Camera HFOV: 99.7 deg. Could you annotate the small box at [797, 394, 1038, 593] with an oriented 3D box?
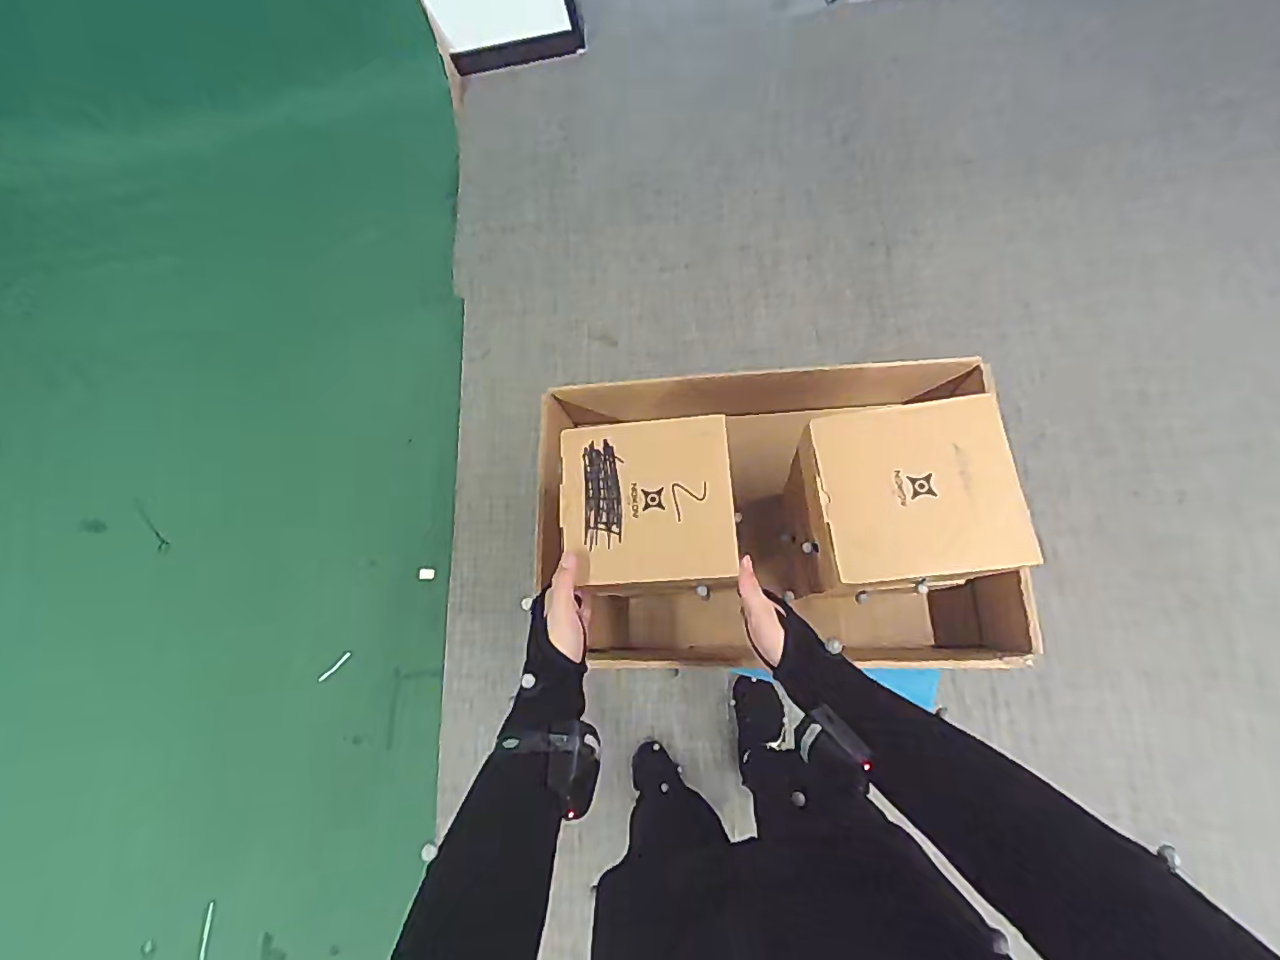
[{"bbox_3d":[0.270,0.027,0.579,0.179,0.176,0.168,-8,75,9],"label":"small box"}]
